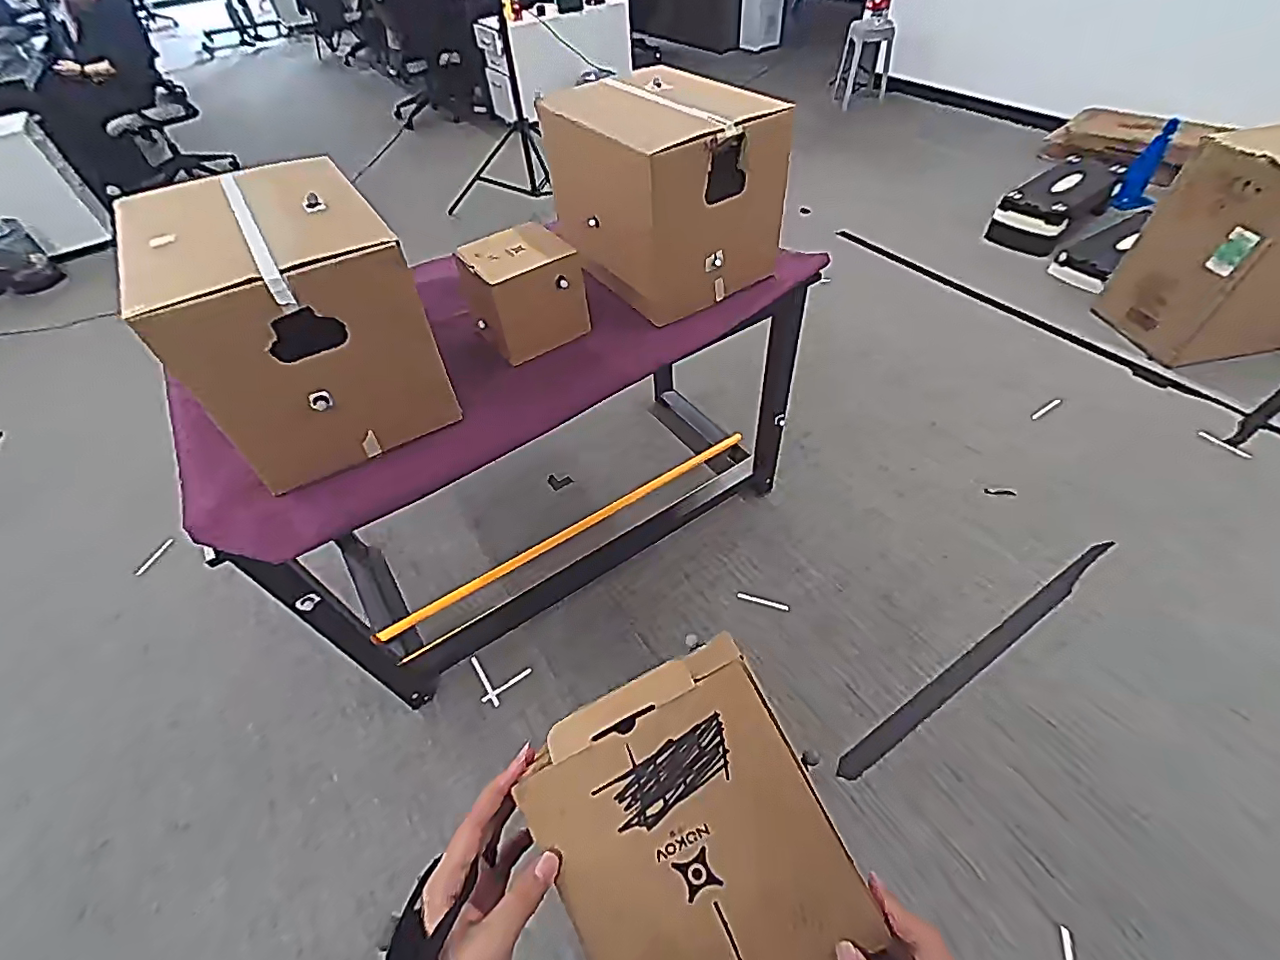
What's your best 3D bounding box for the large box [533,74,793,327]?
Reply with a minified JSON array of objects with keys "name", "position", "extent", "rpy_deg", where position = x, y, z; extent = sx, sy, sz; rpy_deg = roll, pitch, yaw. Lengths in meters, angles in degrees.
[{"name":"large box","position":[0.041,-0.572,1.093],"extent":[0.320,0.320,0.408],"rpy_deg":[-29,52,-19]}]
